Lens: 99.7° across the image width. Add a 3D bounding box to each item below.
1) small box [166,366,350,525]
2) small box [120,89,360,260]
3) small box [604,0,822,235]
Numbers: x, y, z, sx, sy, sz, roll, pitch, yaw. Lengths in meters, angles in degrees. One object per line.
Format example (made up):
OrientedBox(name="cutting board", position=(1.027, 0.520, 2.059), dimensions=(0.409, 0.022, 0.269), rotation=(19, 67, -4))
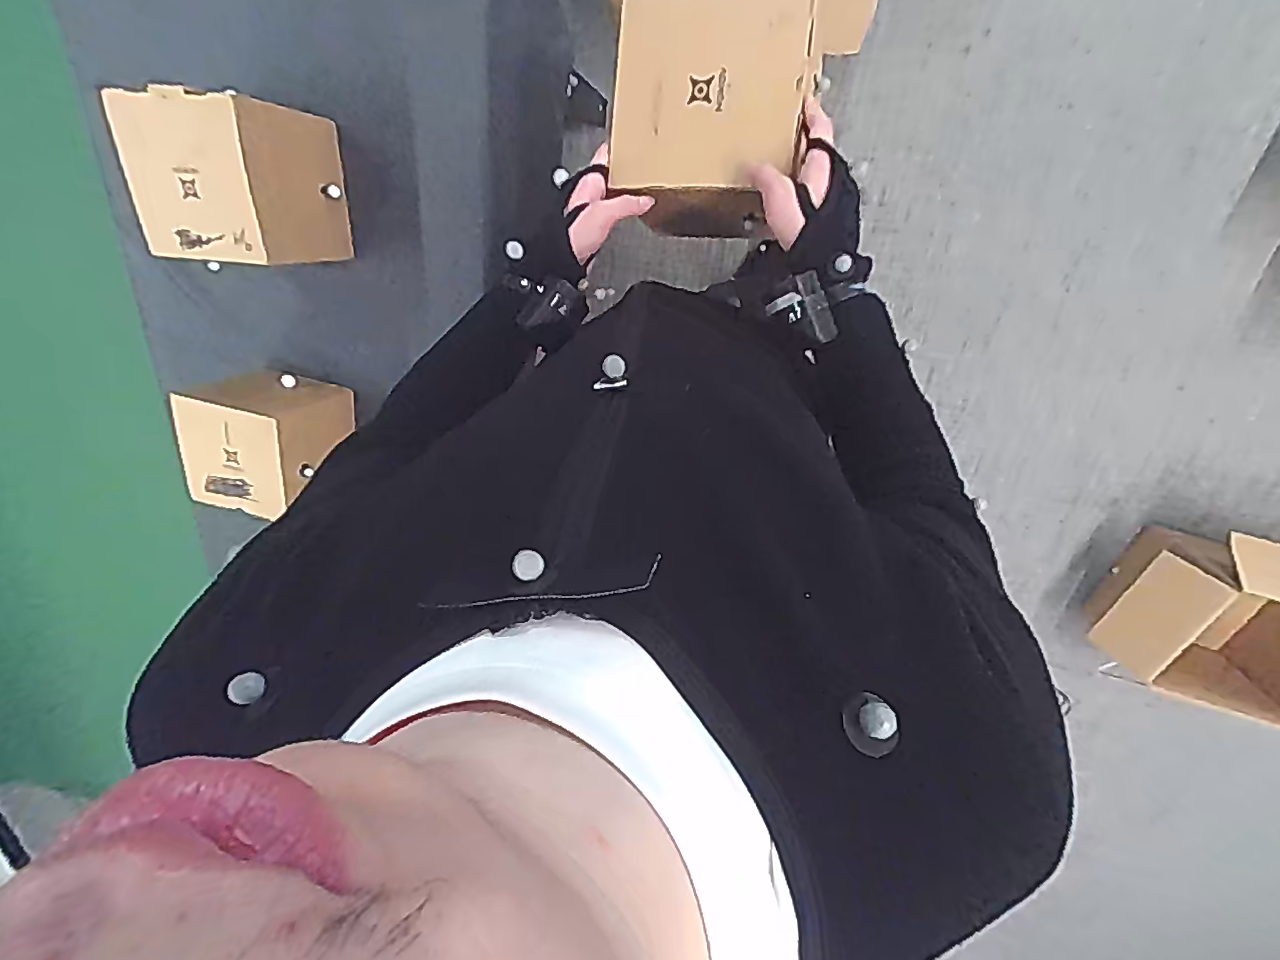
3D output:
OrientedBox(name="small box", position=(-0.584, -0.061, 0.852), dimensions=(0.168, 0.176, 0.179), rotation=(16, 116, 1))
OrientedBox(name="small box", position=(-0.505, -0.391, 0.714), dimensions=(0.168, 0.176, 0.179), rotation=(5, 115, 7))
OrientedBox(name="small box", position=(0.080, -0.353, 0.537), dimensions=(0.179, 0.176, 0.168), rotation=(8, 101, 18))
